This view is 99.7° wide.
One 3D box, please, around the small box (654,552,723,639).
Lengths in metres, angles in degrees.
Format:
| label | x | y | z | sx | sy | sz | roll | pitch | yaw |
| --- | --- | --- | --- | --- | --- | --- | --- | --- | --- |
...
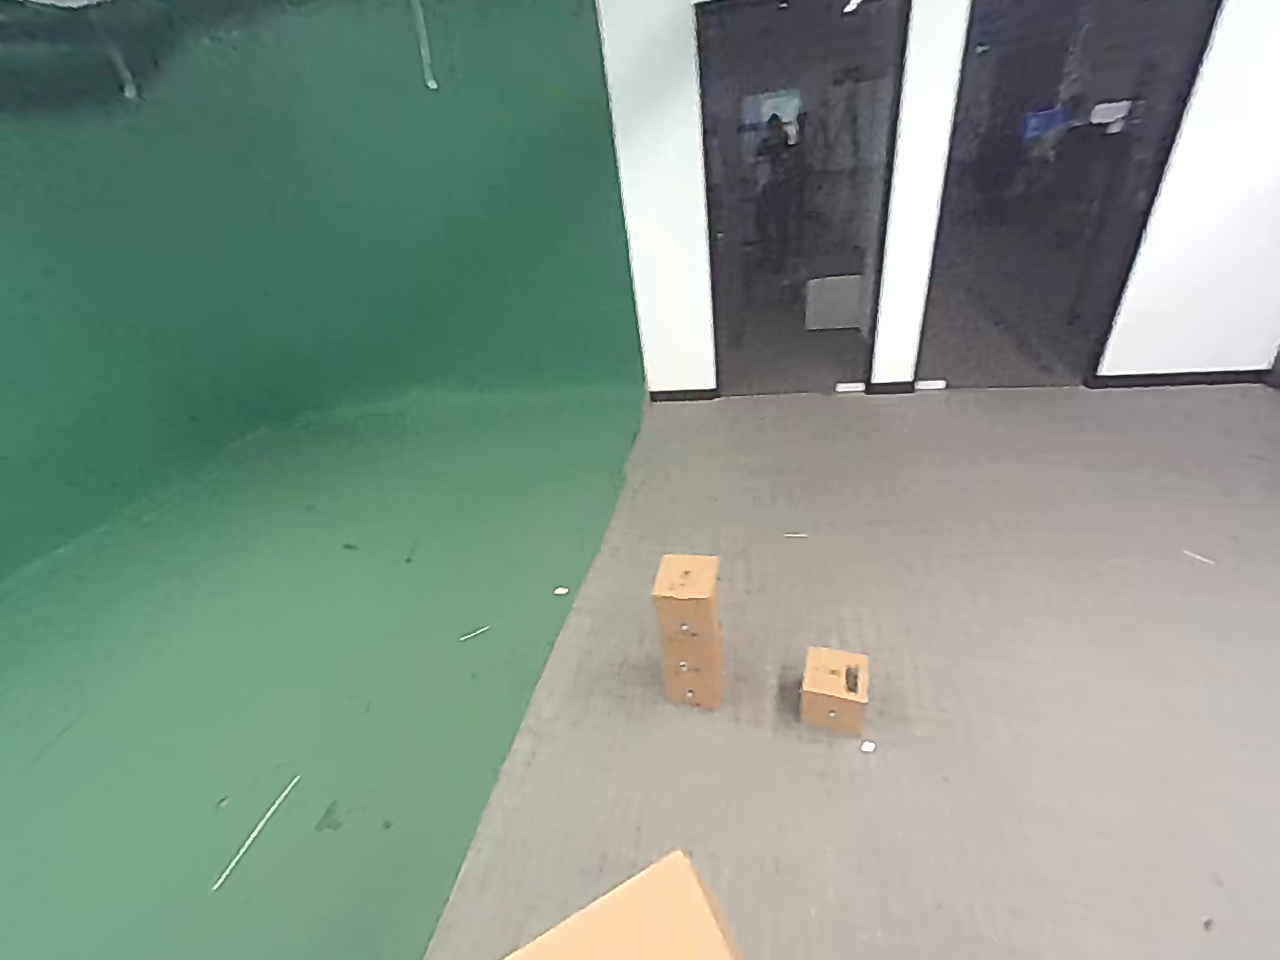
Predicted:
| label | x | y | z | sx | sy | sz | roll | pitch | yaw |
| --- | --- | --- | --- | --- | --- | --- | --- | --- | --- |
| small box | 0.146 | 0.330 | 1.563 | 0.168 | 0.176 | 0.179 | 0 | 33 | 16 |

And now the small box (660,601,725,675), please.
| label | x | y | z | sx | sy | sz | roll | pitch | yaw |
| --- | --- | --- | --- | --- | --- | --- | --- | --- | --- |
| small box | 0.167 | 0.466 | 1.654 | 0.168 | 0.176 | 0.179 | 0 | 34 | 16 |

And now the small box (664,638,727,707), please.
| label | x | y | z | sx | sy | sz | roll | pitch | yaw |
| --- | --- | --- | --- | --- | --- | --- | --- | --- | --- |
| small box | 0.186 | 0.601 | 1.743 | 0.168 | 0.176 | 0.179 | 3 | 35 | 18 |
